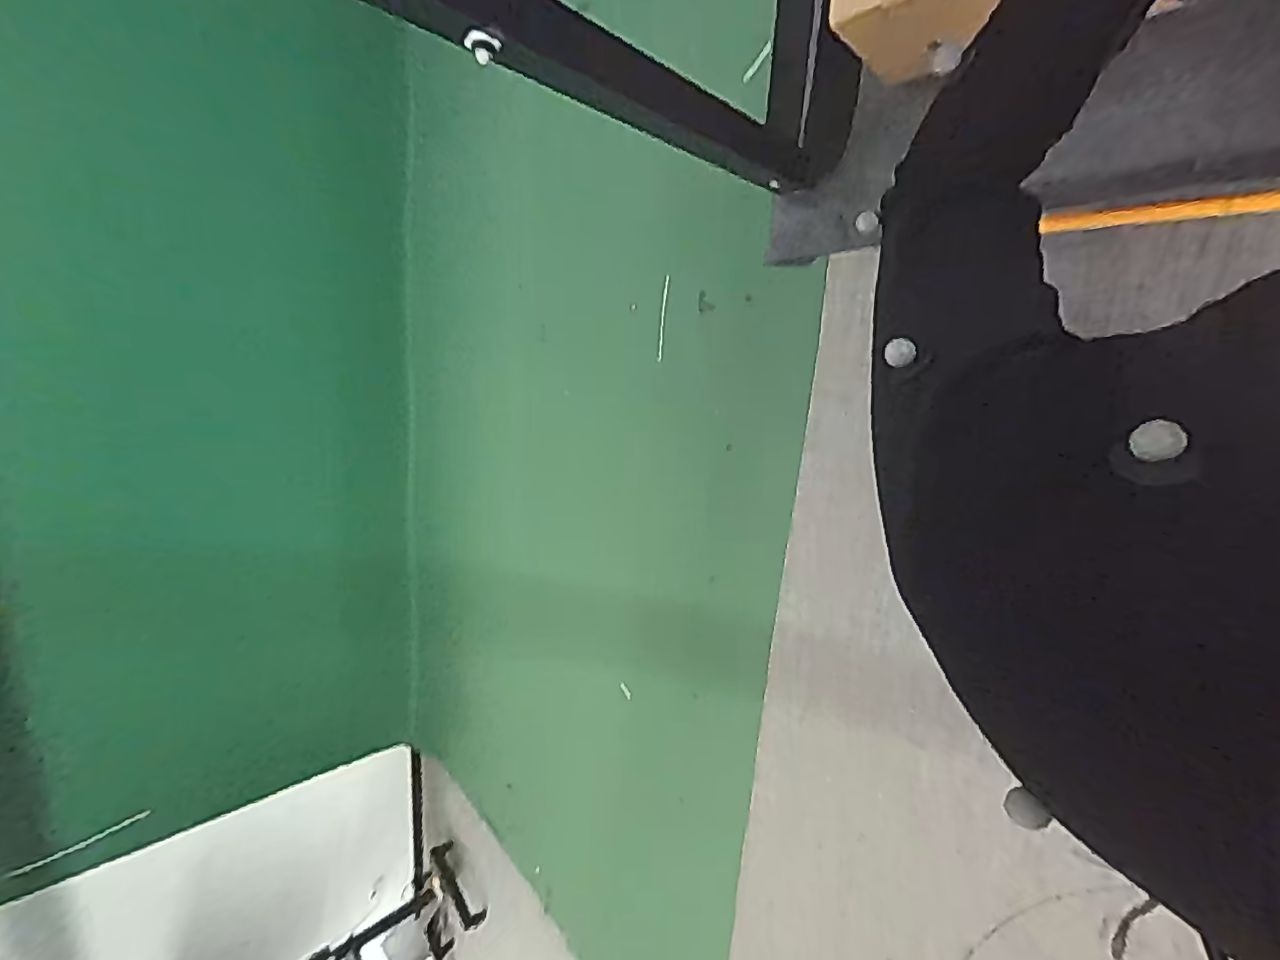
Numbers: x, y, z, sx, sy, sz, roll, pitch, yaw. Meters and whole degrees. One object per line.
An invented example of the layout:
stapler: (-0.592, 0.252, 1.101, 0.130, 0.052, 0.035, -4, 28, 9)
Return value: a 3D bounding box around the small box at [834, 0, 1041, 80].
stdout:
small box: (0.341, -0.593, 0.597, 0.168, 0.176, 0.179, 17, 107, 44)
